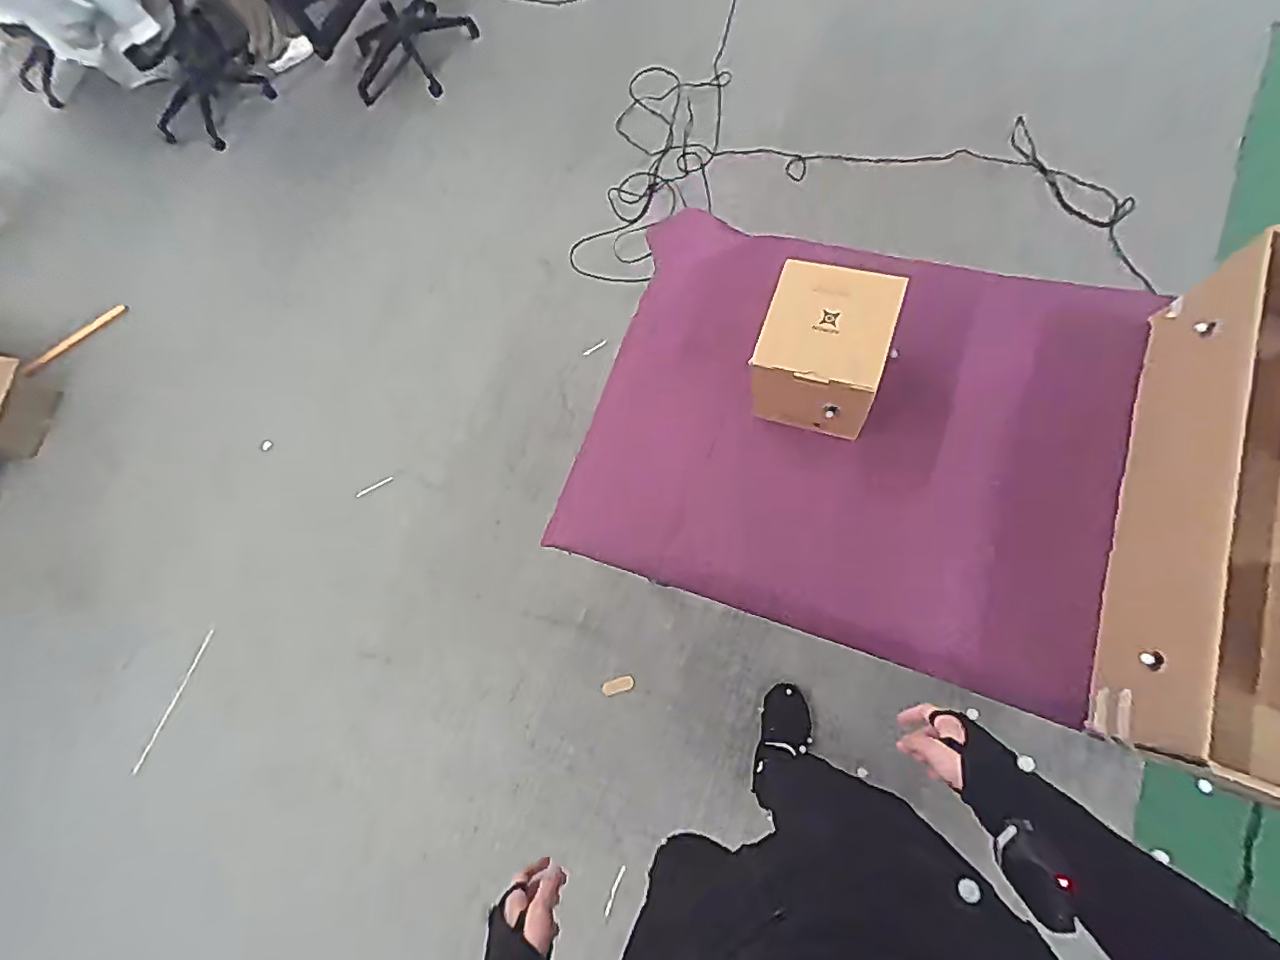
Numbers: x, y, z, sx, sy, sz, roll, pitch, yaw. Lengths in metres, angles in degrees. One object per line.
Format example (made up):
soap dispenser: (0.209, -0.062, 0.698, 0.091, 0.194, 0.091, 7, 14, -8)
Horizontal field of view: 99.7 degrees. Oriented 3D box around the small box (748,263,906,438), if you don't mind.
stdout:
small box: (0.266, -0.181, 0.795, 0.168, 0.176, 0.179, 17, 76, 16)
